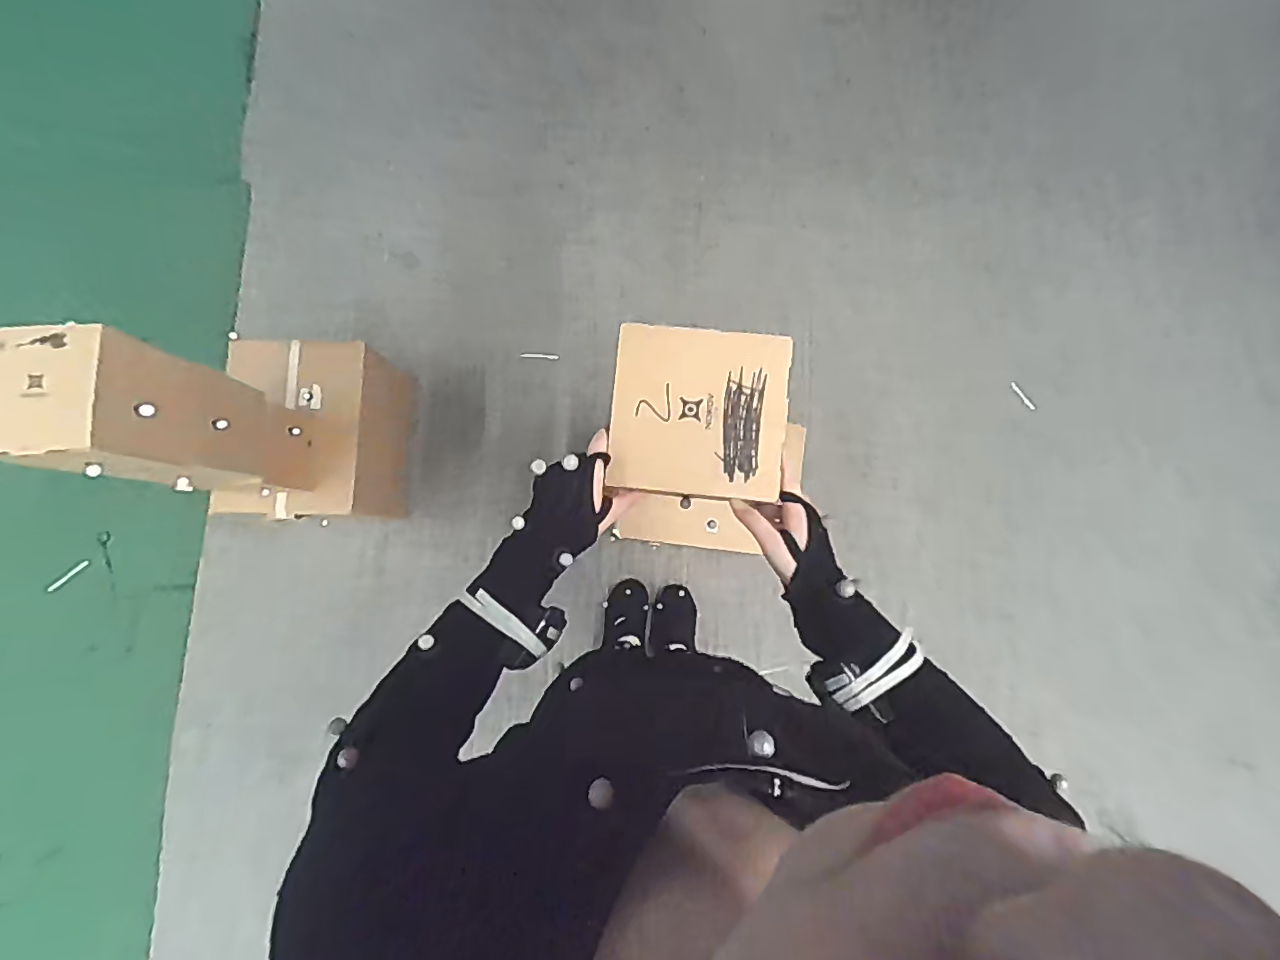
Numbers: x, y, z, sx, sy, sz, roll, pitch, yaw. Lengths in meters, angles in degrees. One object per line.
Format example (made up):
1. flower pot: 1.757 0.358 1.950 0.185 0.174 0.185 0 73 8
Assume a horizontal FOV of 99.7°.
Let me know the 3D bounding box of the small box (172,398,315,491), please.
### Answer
1. small box: -0.805 -0.070 1.115 0.179 0.176 0.168 0 82 -1

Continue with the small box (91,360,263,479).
1. small box: -0.800 -0.097 0.953 0.168 0.176 0.179 -4 82 -2

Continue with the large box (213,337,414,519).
1. large box: -0.792 -0.109 1.365 0.320 0.320 0.408 1 82 -1

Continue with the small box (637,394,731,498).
1. small box: 0.086 -0.064 1.136 0.168 0.176 0.179 8 81 -1

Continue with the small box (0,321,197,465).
1. small box: -0.795 -0.116 0.790 0.168 0.176 0.179 -2 83 -2
